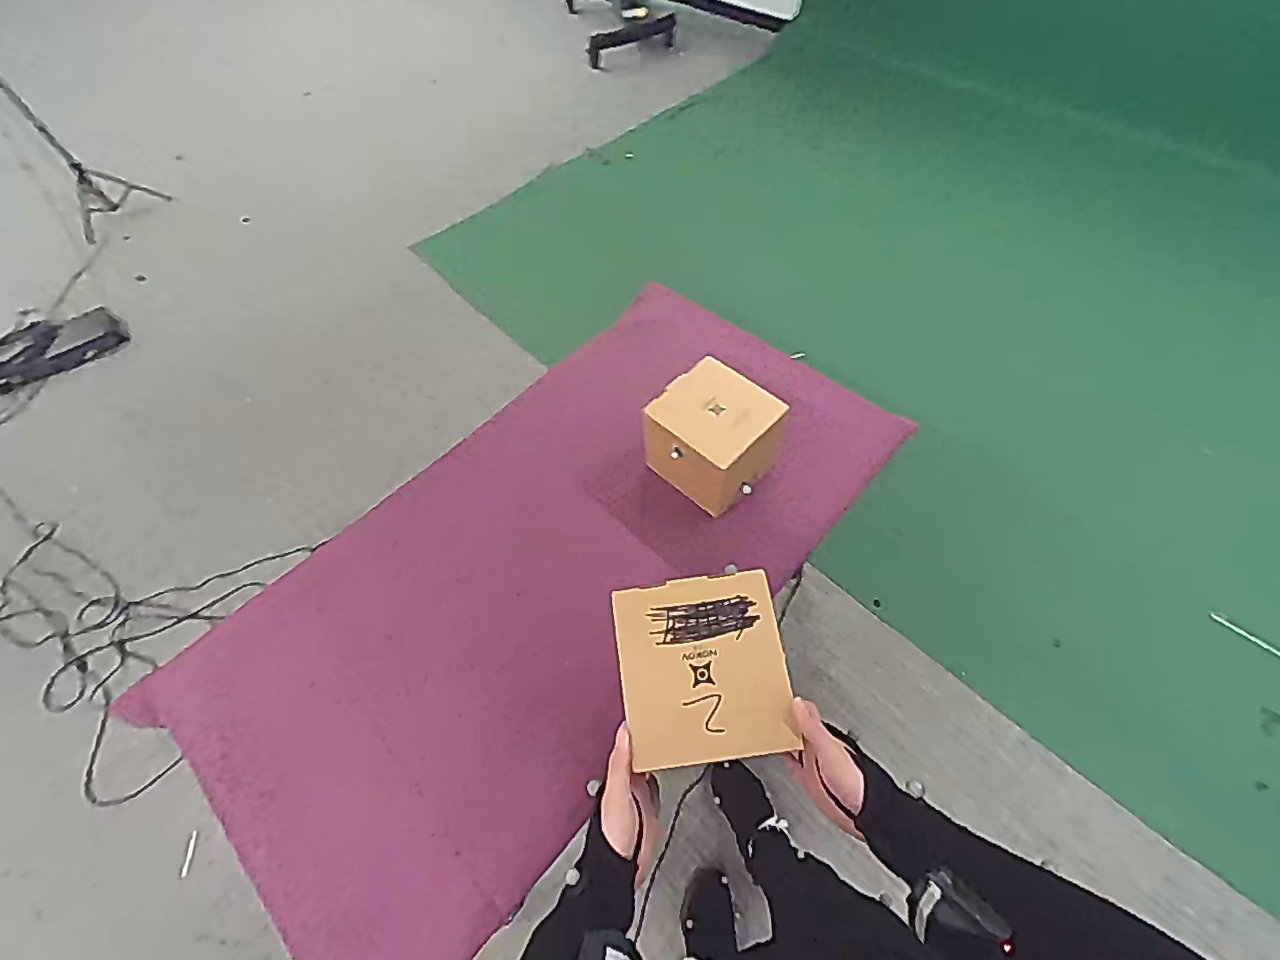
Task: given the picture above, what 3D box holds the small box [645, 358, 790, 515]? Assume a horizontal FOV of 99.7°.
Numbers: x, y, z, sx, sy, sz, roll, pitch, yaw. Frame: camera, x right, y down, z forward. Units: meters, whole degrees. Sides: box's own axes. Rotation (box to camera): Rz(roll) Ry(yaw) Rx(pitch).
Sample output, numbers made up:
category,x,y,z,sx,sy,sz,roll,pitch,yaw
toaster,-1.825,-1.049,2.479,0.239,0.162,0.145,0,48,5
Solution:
category,x,y,z,sx,sy,sz,roll,pitch,yaw
small box,0.128,-0.070,0.934,0.168,0.176,0.179,-41,64,-19
